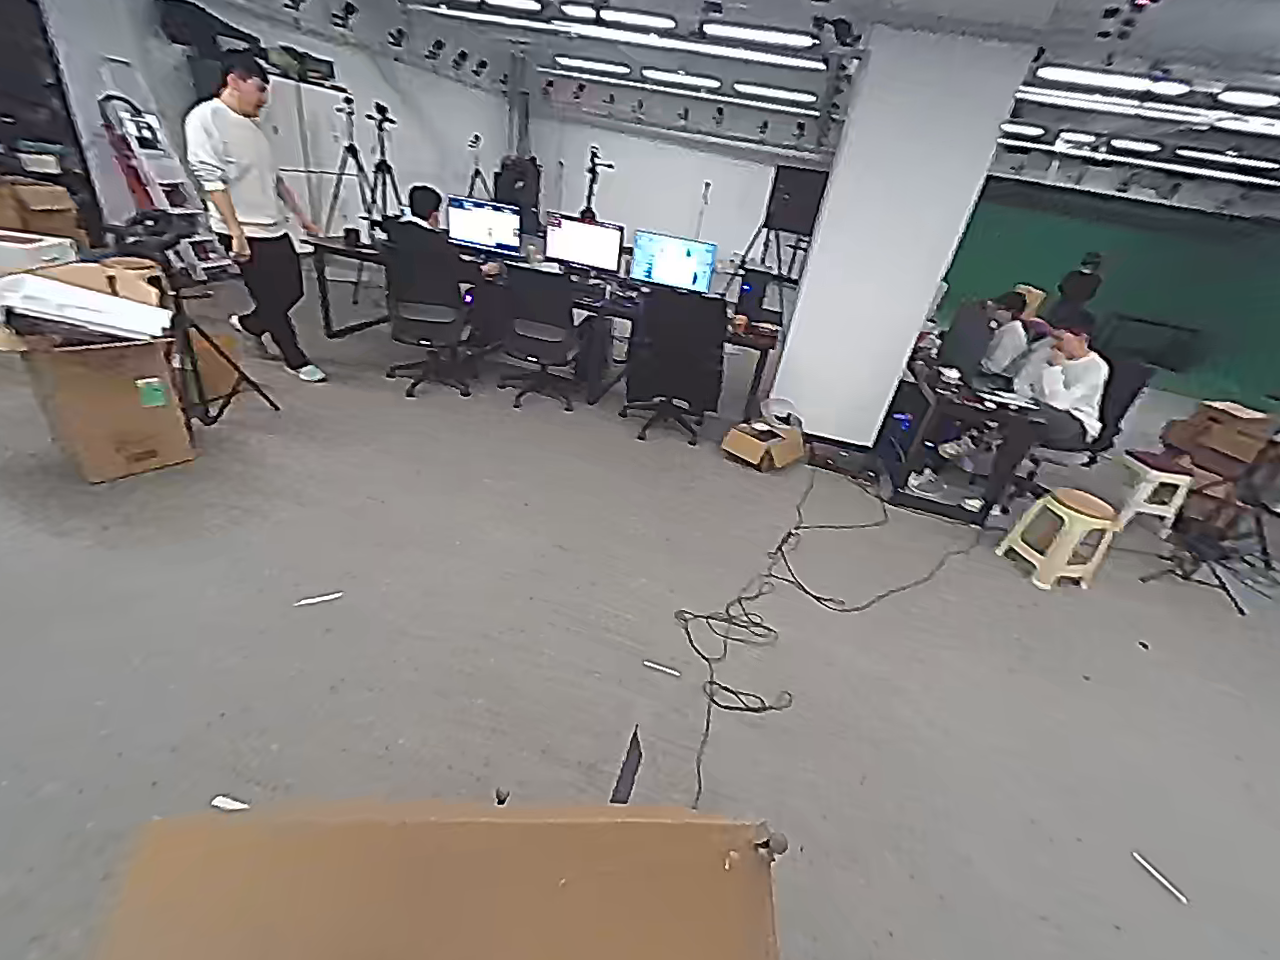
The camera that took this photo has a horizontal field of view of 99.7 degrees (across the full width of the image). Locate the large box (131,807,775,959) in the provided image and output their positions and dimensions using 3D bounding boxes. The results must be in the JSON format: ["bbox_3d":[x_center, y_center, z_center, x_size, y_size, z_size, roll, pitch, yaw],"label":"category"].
[{"bbox_3d":[-0.126,0.443,0.429,0.408,0.320,0.320,4,62,-5],"label":"large box"}]
